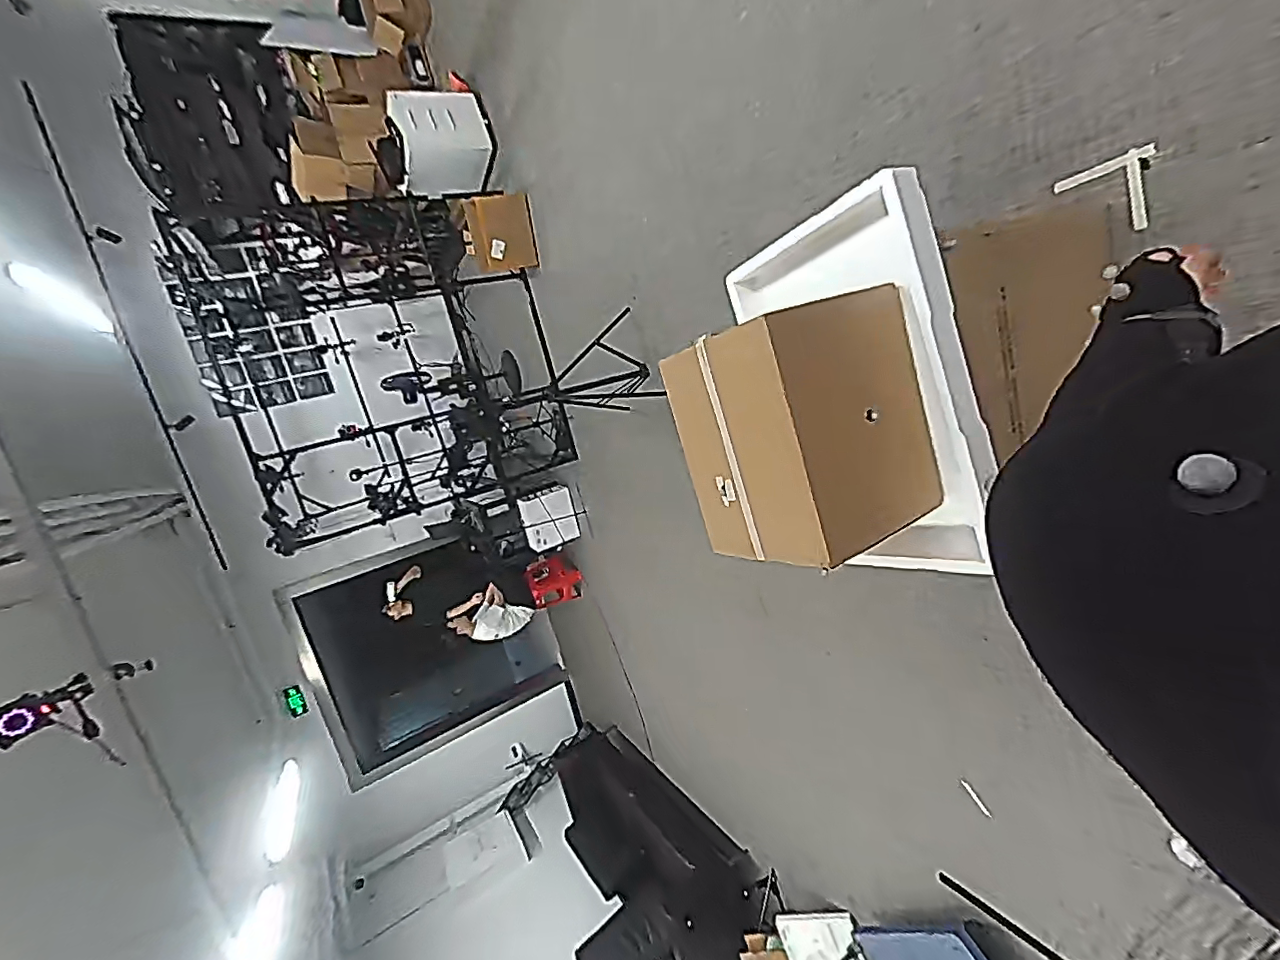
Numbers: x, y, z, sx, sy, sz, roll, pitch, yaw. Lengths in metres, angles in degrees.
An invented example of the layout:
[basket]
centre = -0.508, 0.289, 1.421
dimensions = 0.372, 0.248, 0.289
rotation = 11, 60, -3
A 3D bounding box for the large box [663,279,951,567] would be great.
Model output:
[large box]
centre = 0.299, -0.098, 0.995
dimensions = 0.320, 0.320, 0.408
rotation = -4, 106, 64
